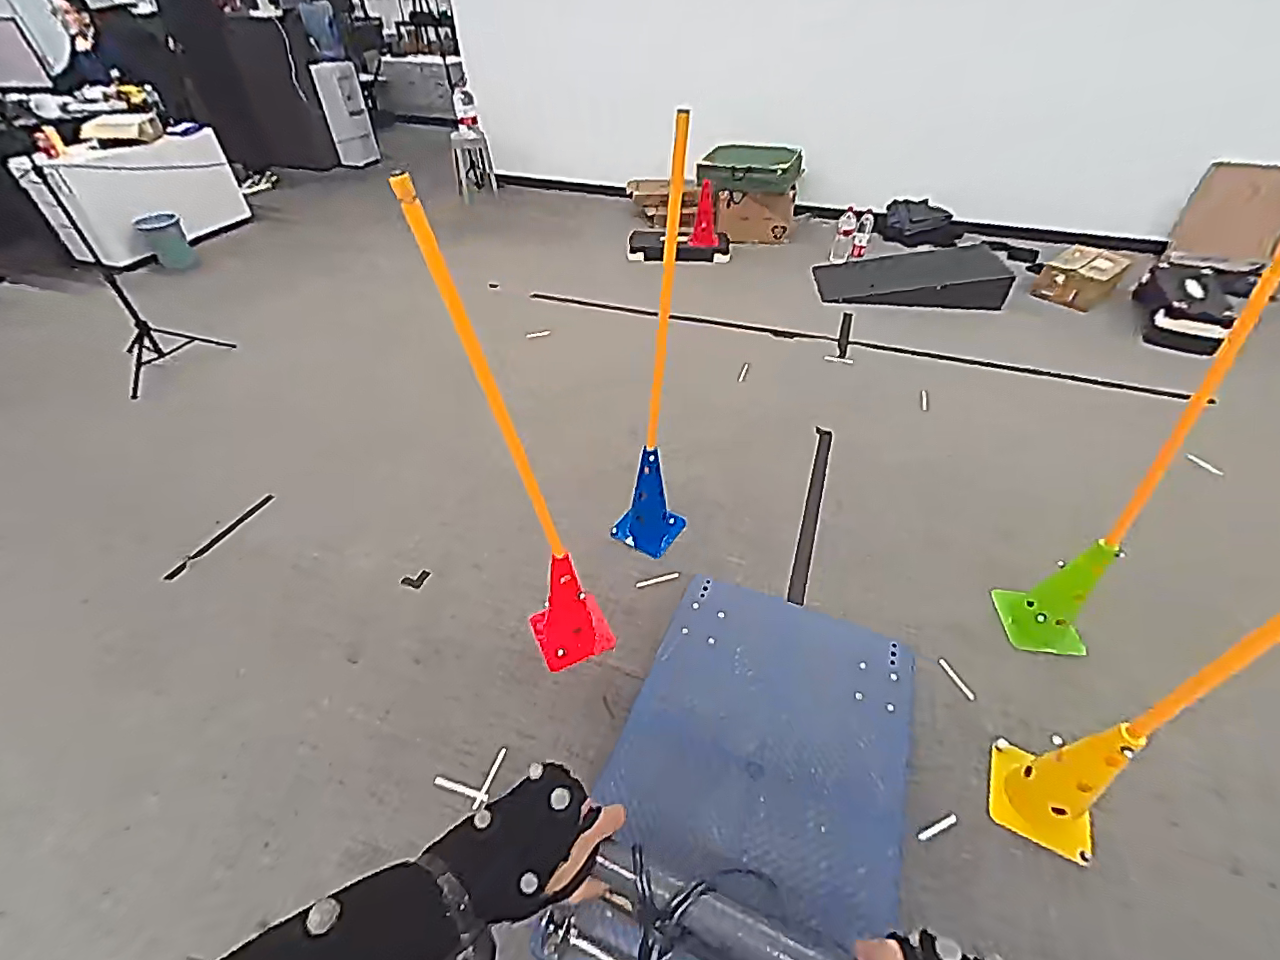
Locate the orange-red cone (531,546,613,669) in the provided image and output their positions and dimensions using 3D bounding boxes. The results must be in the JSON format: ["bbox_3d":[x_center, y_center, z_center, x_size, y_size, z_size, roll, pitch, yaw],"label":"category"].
[{"bbox_3d":[-0.191,0.300,1.419,0.199,0.360,0.198,-17,46,-19],"label":"orange-red cone"}]

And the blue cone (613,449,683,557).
[{"bbox_3d":[0.030,0.048,1.711,0.193,0.380,0.192,25,49,24],"label":"blue cone"}]

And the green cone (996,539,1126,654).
[{"bbox_3d":[1.157,0.281,1.441,0.200,0.368,0.202,4,44,4],"label":"green cone"}]
